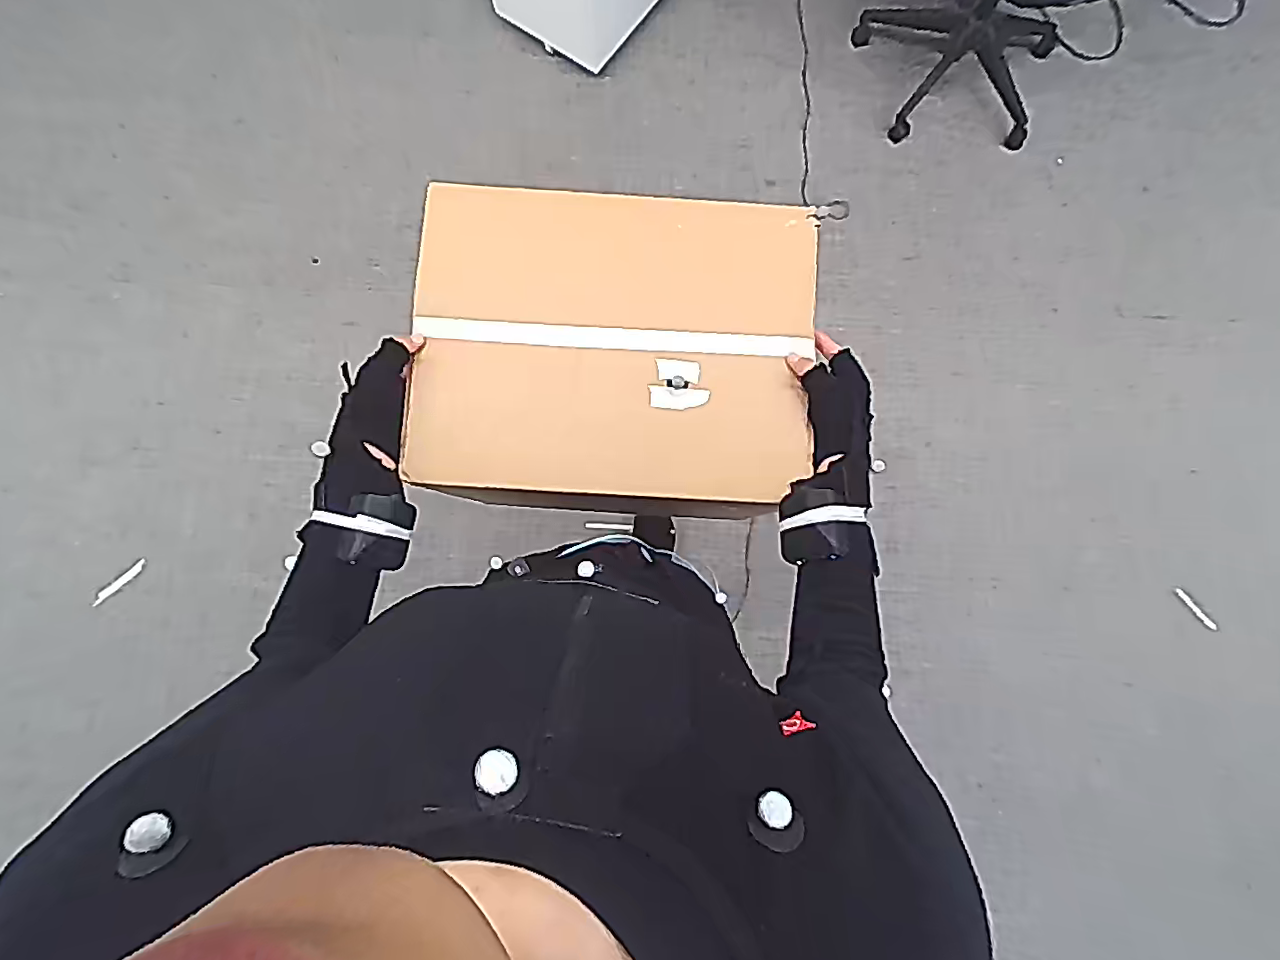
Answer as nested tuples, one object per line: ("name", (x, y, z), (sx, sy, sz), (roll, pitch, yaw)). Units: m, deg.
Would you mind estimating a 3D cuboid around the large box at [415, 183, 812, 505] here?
("large box", (-0.027, -0.138, 0.707), (0.408, 0.320, 0.320), (4, 85, -1))
